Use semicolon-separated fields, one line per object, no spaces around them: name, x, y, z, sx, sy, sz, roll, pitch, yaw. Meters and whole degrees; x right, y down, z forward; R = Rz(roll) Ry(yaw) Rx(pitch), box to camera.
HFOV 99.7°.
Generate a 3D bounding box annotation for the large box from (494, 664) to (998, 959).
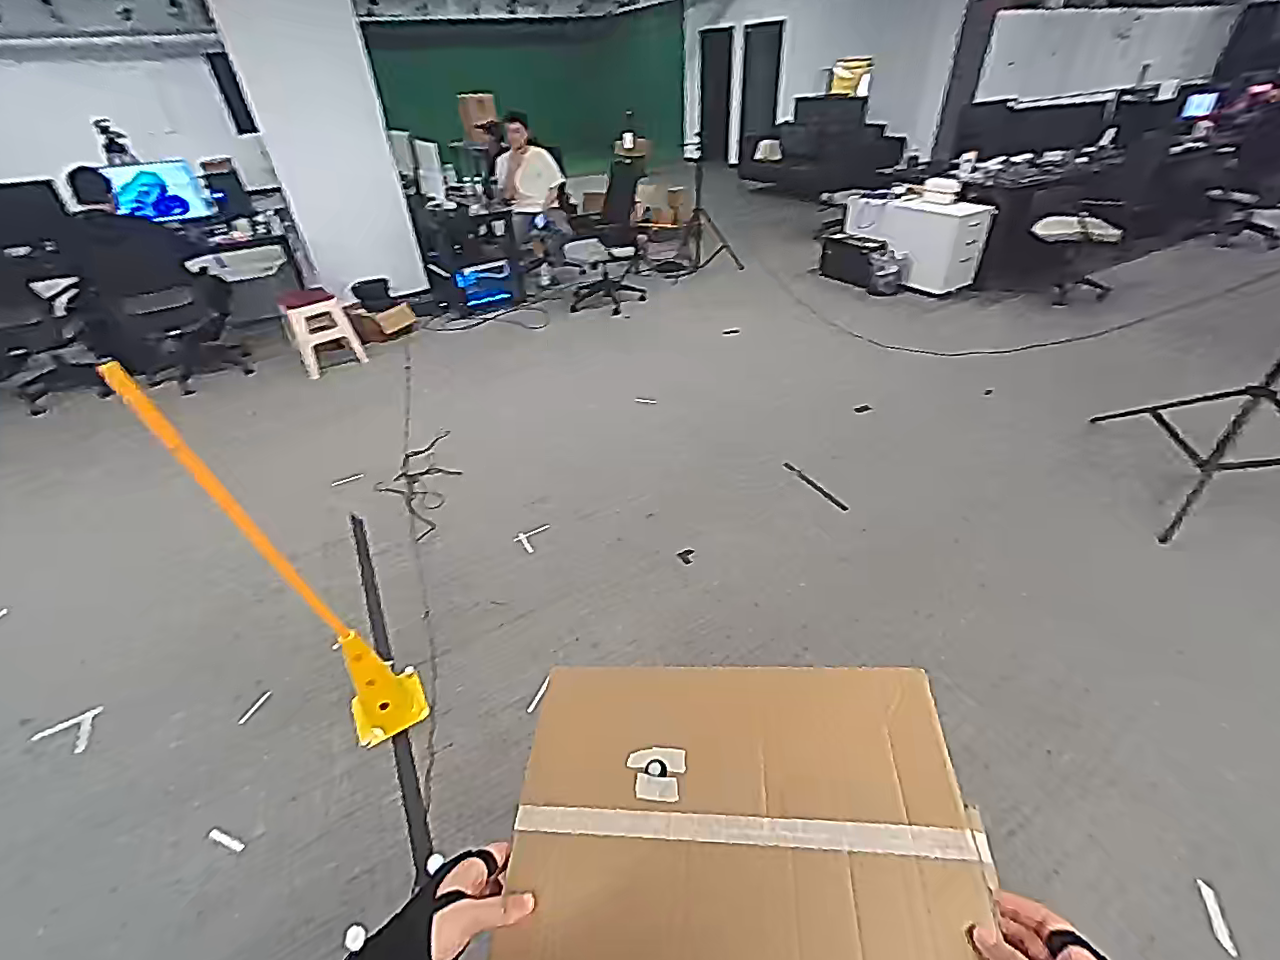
large box;0.110;0.424;0.592;0.408;0.320;0.320;-6;42;13
